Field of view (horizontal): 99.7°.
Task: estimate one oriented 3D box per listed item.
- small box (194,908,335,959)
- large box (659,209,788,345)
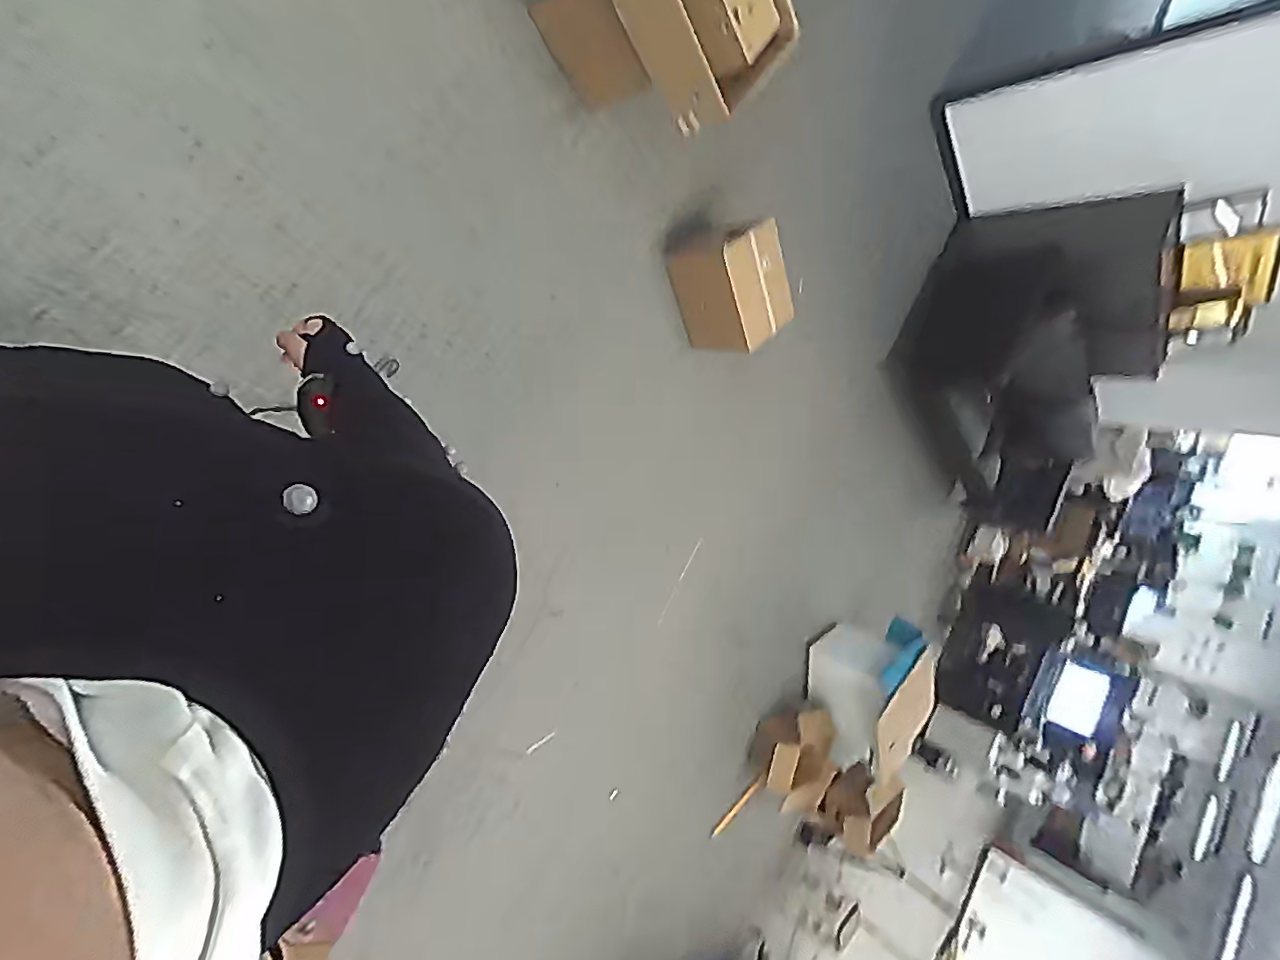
[{"bbox_3d":[-0.615,0.818,0.854,0.168,0.176,0.179,40,77,-41],"label":"small box"},{"bbox_3d":[0.334,-0.788,2.140,0.320,0.320,0.408,-43,127,-25],"label":"large box"}]
